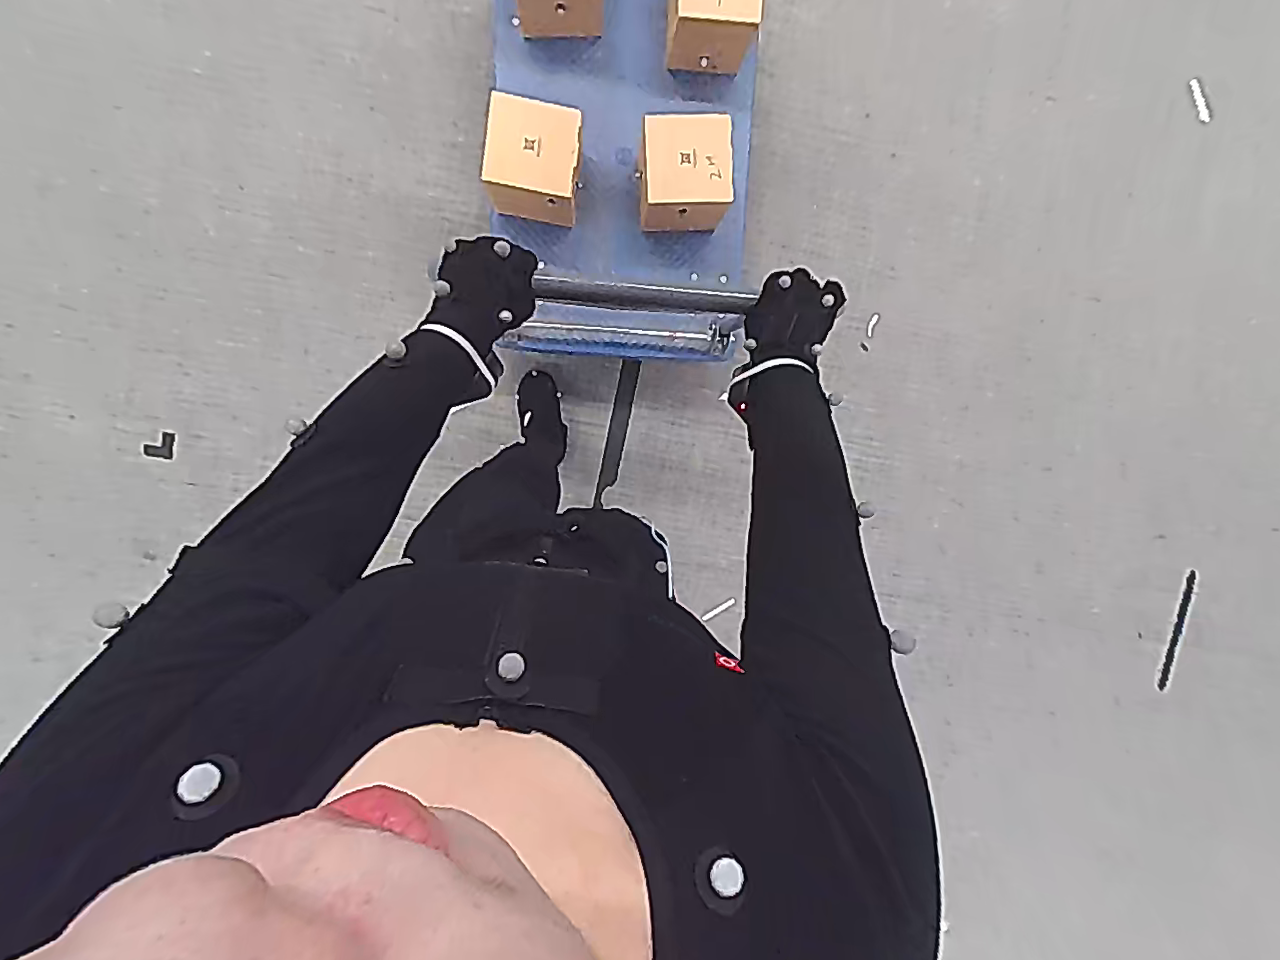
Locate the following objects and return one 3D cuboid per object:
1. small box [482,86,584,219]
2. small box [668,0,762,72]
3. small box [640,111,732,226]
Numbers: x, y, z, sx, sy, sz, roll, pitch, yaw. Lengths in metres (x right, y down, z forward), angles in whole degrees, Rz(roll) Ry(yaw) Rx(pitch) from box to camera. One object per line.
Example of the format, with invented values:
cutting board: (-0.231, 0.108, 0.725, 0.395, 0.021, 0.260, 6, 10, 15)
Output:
small box: (-0.215, -0.665, 1.121, 0.179, 0.176, 0.168, 8, 96, -8)
small box: (0.151, -0.990, 1.111, 0.168, 0.176, 0.179, 1, 98, -5)
small box: (0.090, -0.652, 1.149, 0.179, 0.176, 0.168, -2, 98, -5)
